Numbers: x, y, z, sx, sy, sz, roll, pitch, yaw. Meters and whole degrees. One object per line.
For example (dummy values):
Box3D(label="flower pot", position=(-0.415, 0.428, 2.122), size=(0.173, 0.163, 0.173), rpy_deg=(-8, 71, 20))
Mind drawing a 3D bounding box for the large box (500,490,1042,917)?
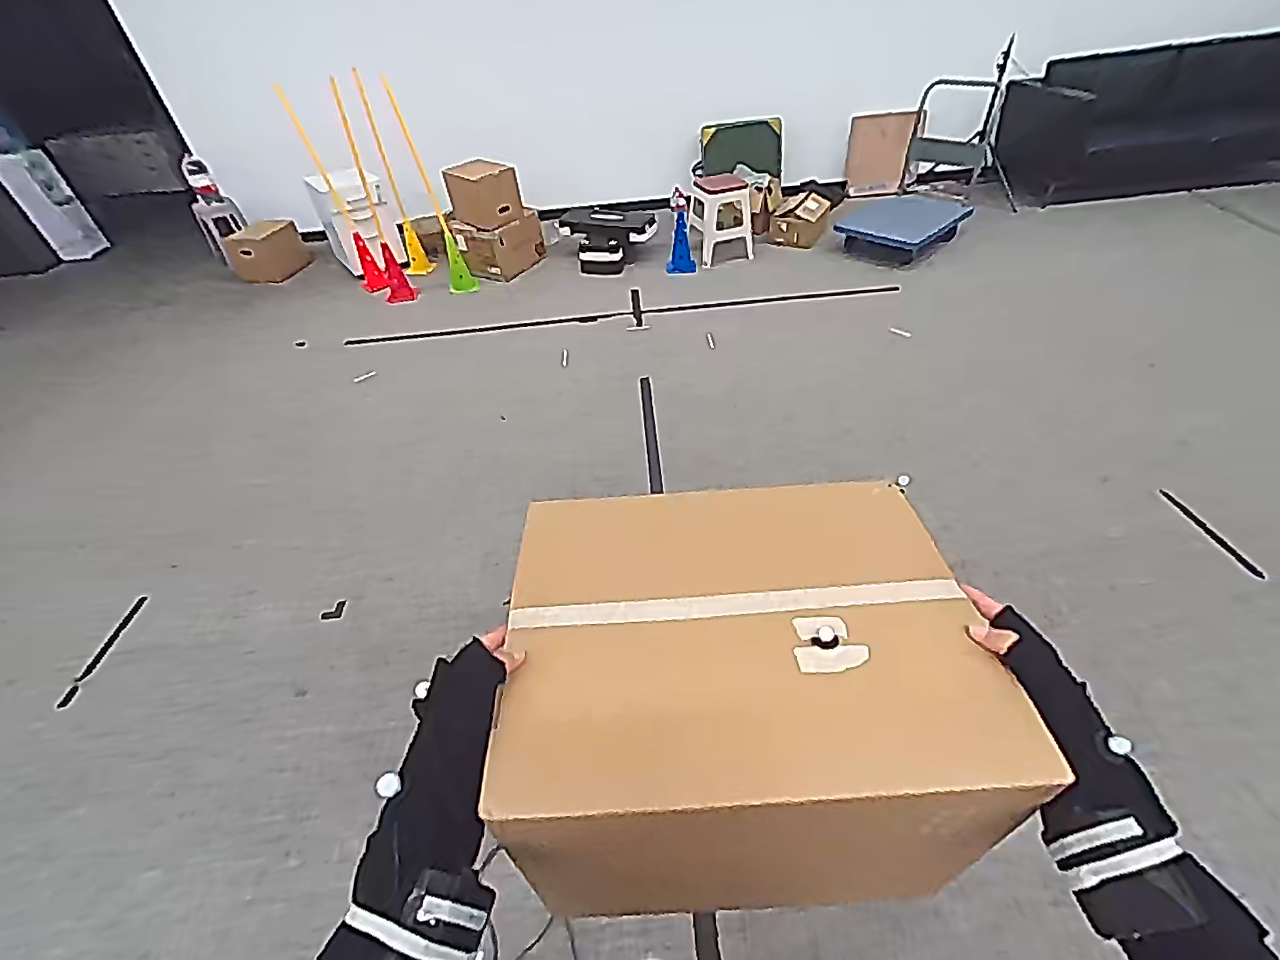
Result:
Box3D(label="large box", position=(0.094, 0.238, 0.594), size=(0.408, 0.320, 0.320), rpy_deg=(-4, 41, 0))
